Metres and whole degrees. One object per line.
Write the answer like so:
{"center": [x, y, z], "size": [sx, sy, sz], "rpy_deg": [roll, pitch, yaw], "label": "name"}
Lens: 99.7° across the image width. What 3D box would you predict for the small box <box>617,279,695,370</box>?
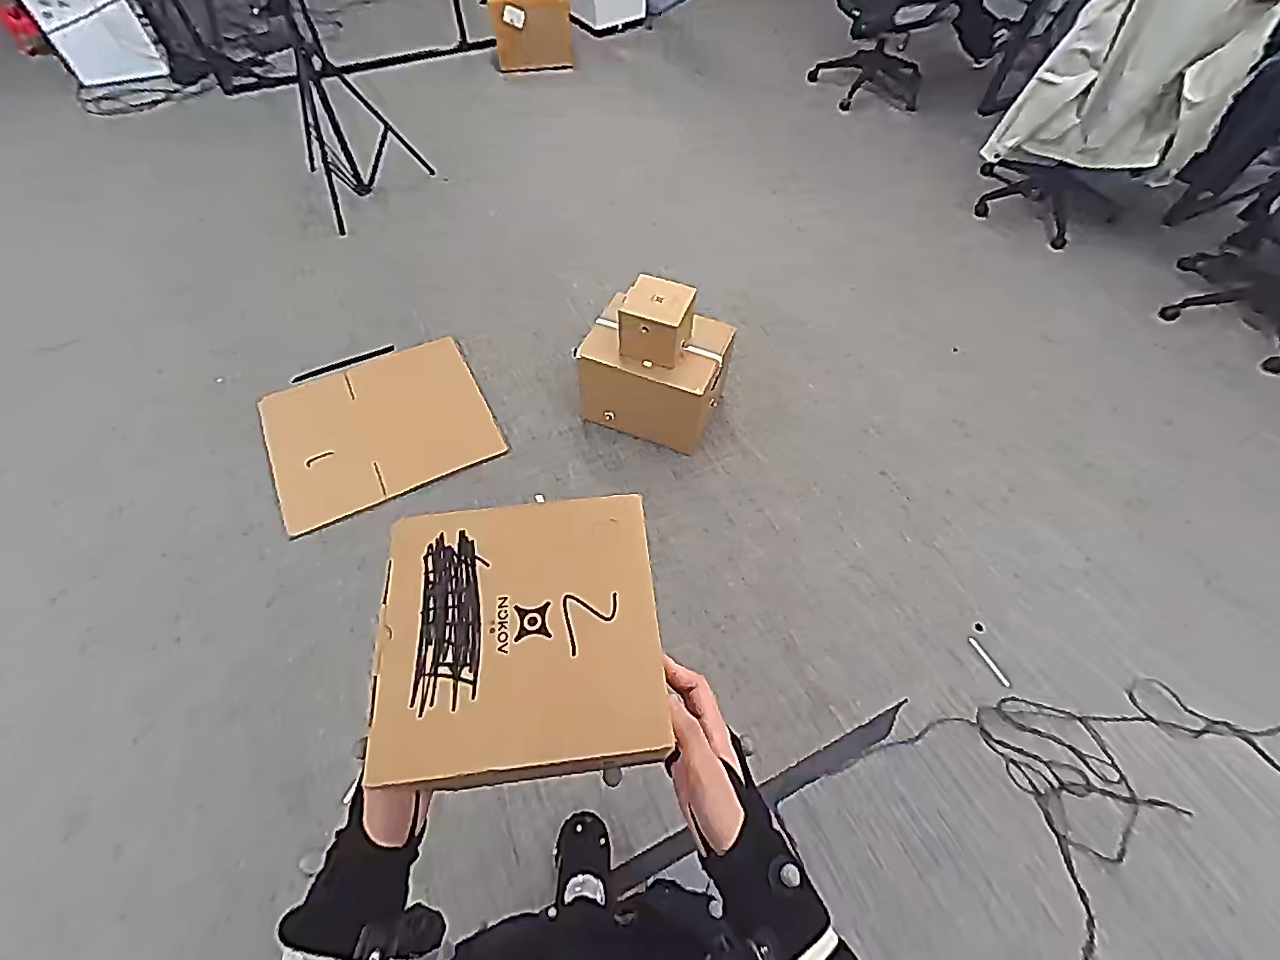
{"center": [0.045, -0.443, 1.559], "size": [0.179, 0.176, 0.168], "rpy_deg": [19, 61, 10], "label": "small box"}
